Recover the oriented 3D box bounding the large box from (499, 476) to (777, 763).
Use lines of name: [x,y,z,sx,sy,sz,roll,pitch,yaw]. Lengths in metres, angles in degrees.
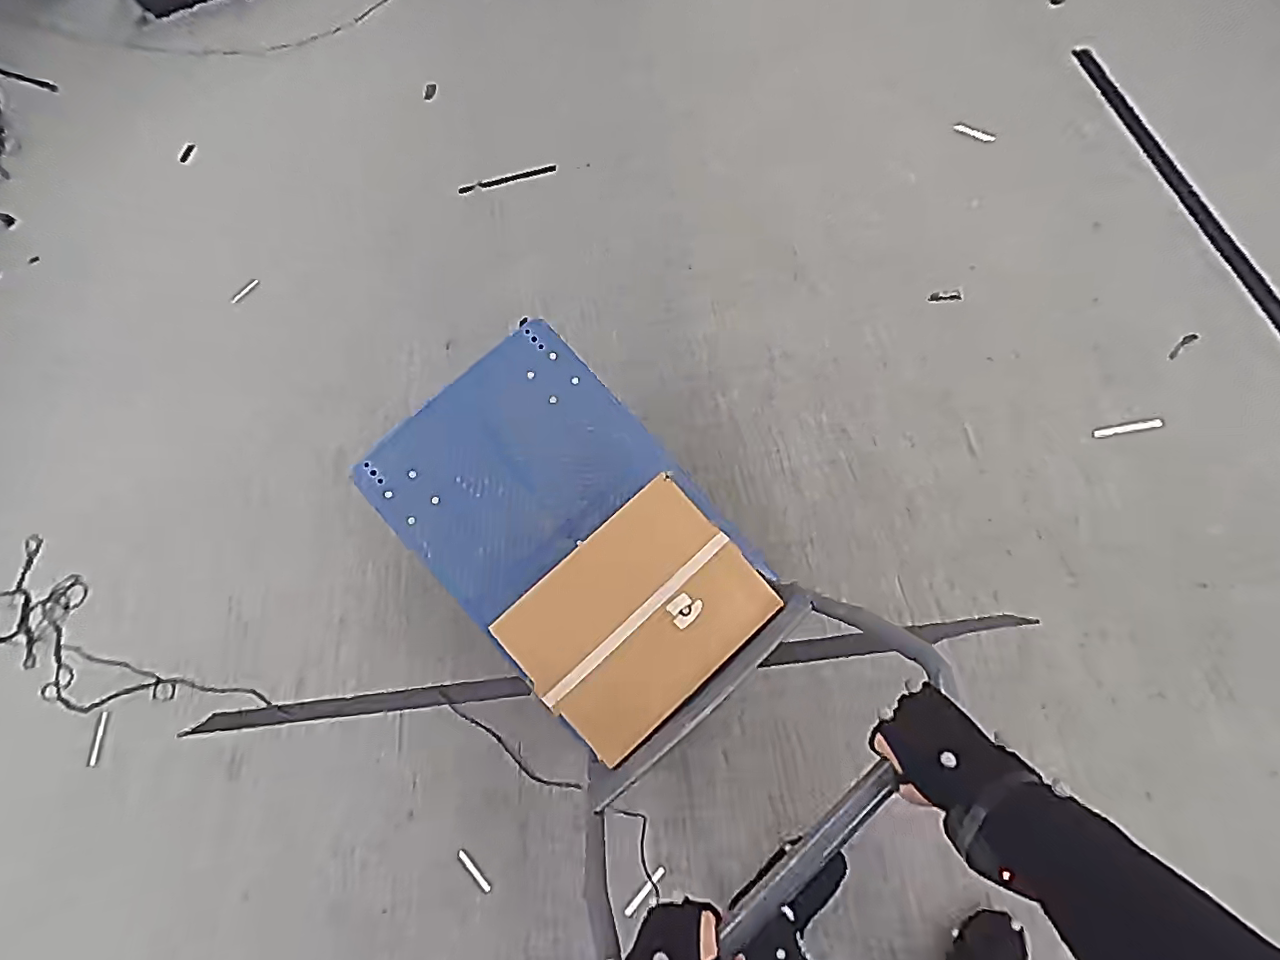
large box: [-0.007,0.256,1.085,0.408,0.320,0.320,-43,87,-7]
